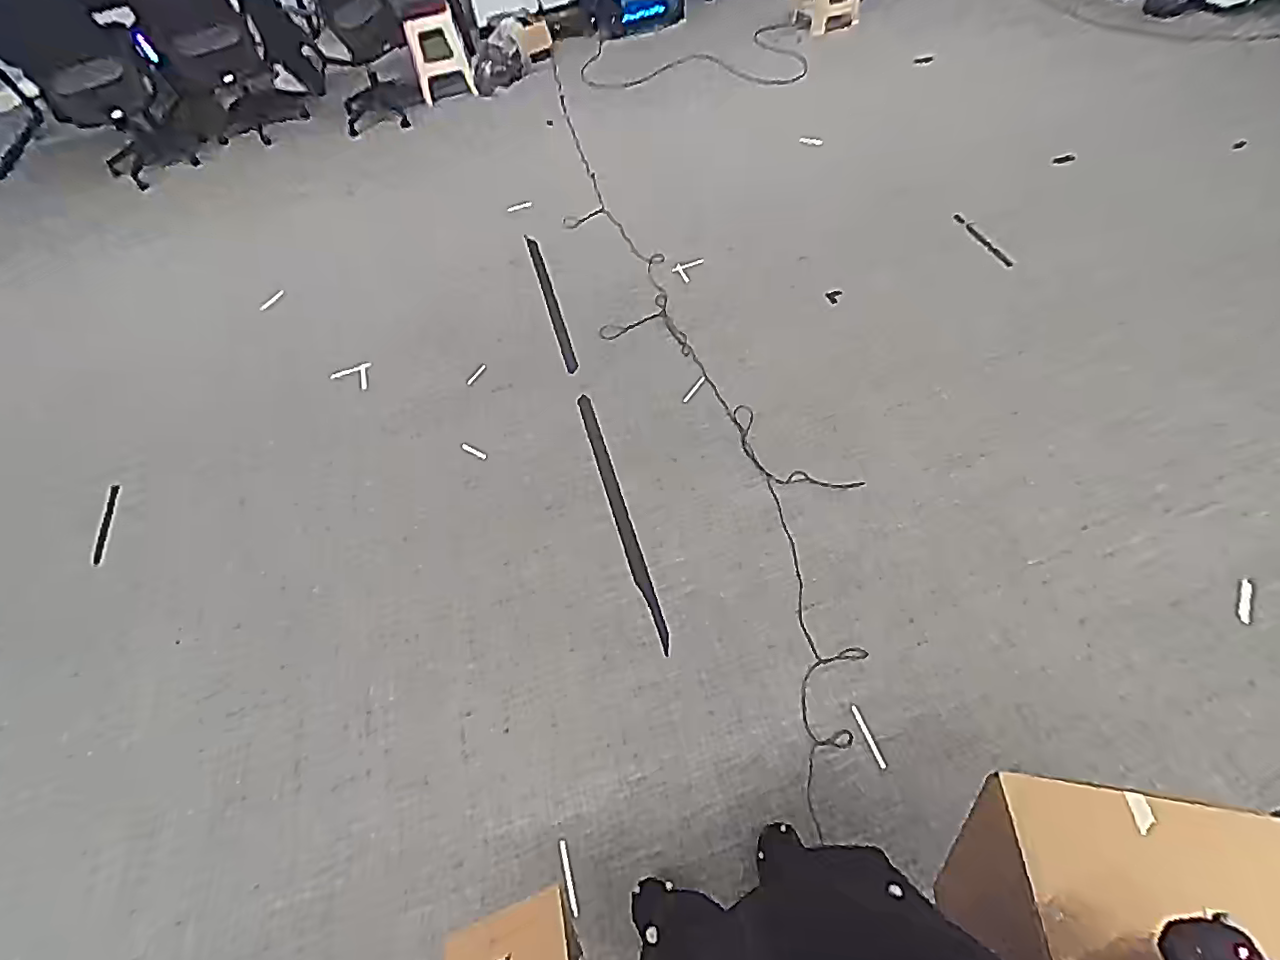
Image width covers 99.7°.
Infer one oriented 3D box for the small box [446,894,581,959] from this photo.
[{"bbox_3d":[-0.149,0.709,0.700,0.168,0.179,0.176,-17,98,-13],"label":"small box"}]
